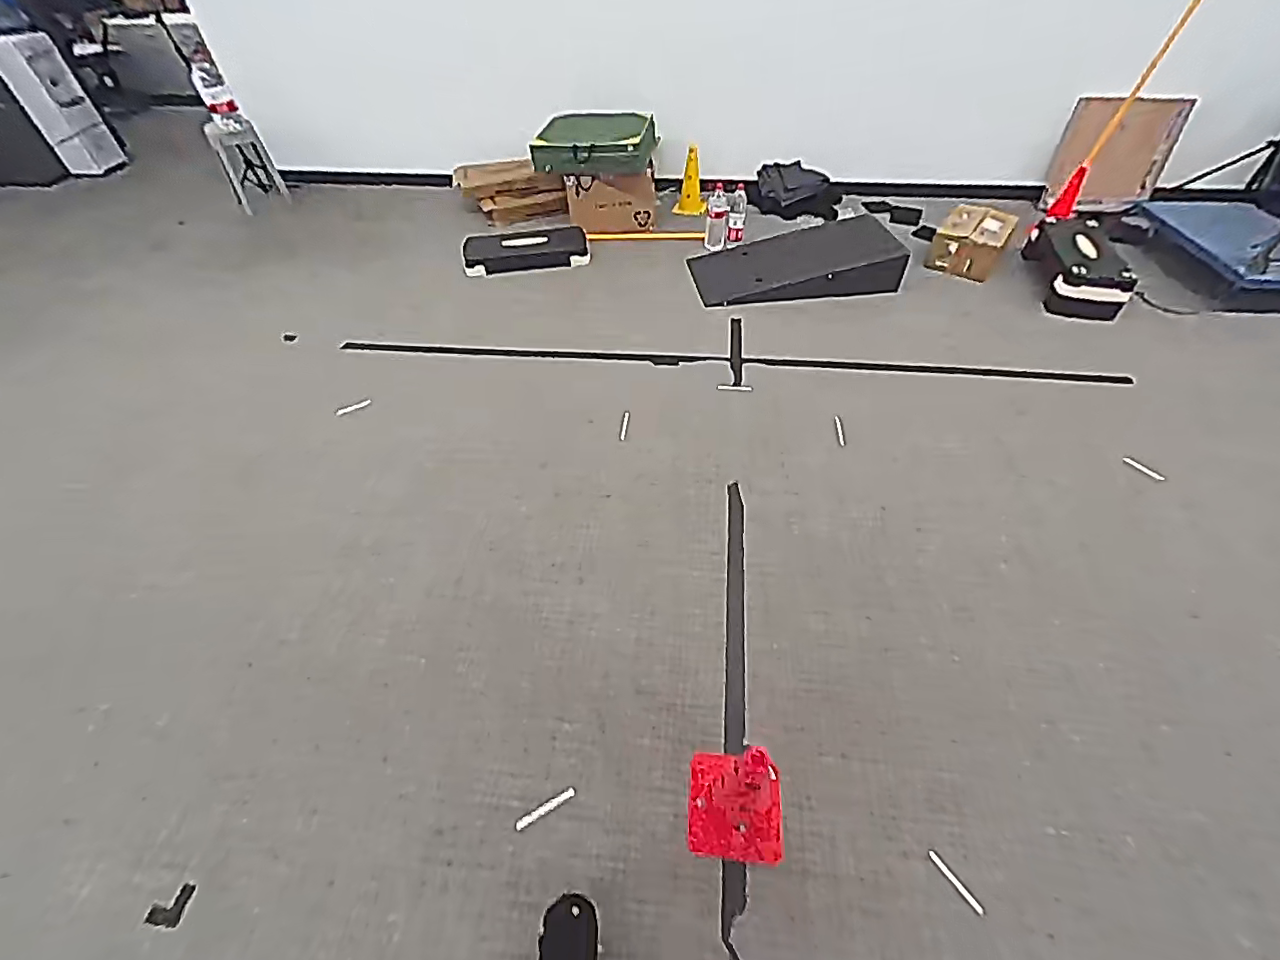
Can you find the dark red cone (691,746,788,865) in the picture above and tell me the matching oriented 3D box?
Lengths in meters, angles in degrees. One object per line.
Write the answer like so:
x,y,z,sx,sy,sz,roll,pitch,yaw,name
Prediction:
0.205,0.588,1.039,0.201,0.394,0.202,3,48,5,dark red cone
